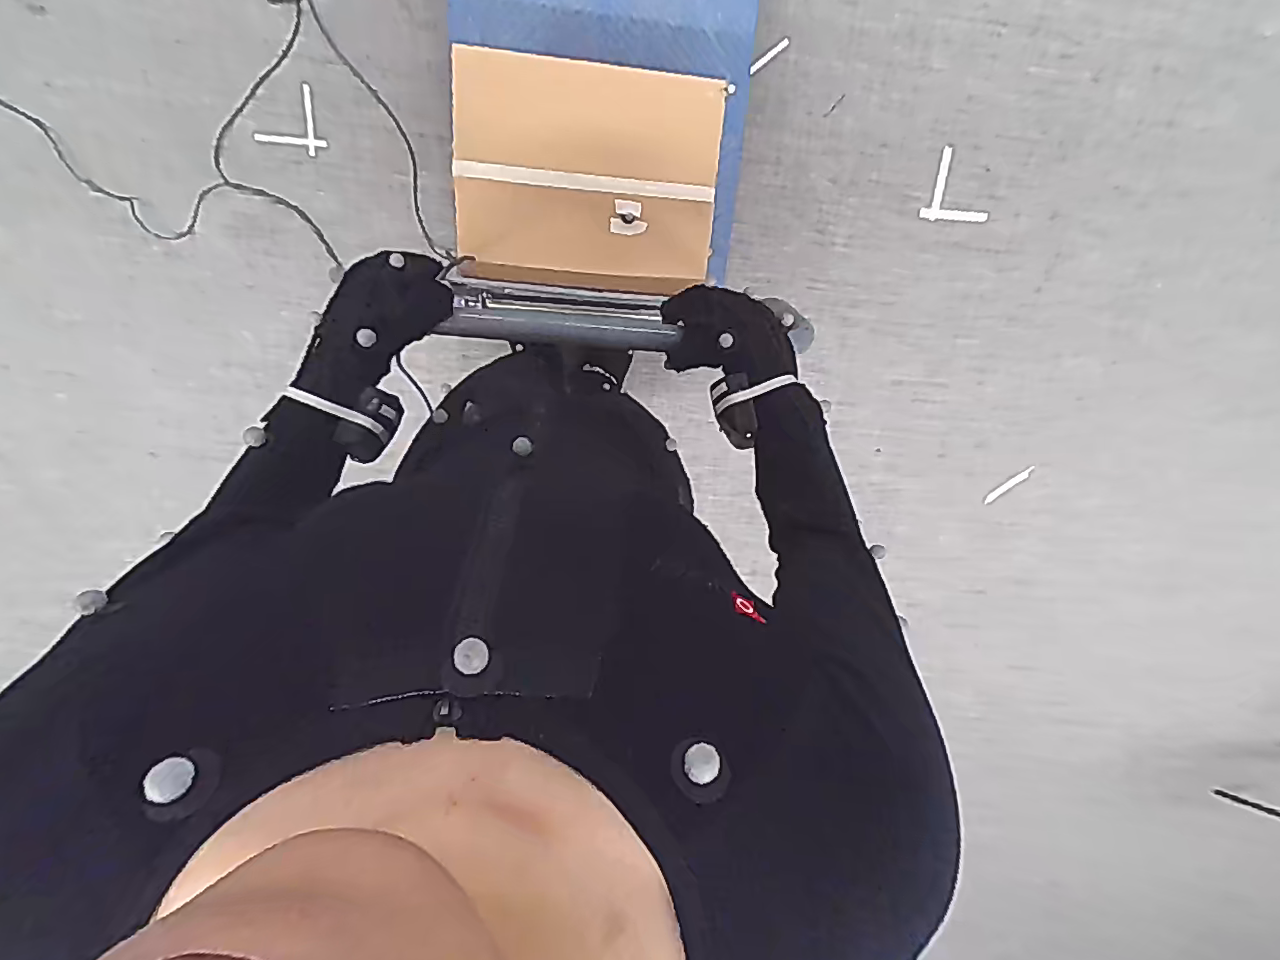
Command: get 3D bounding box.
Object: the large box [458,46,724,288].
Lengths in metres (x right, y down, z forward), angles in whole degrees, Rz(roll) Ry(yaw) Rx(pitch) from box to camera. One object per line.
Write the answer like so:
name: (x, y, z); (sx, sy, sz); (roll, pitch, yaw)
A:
large box: (-0.094, -0.529, 0.994); (0.408, 0.320, 0.320); (3, 110, -7)
